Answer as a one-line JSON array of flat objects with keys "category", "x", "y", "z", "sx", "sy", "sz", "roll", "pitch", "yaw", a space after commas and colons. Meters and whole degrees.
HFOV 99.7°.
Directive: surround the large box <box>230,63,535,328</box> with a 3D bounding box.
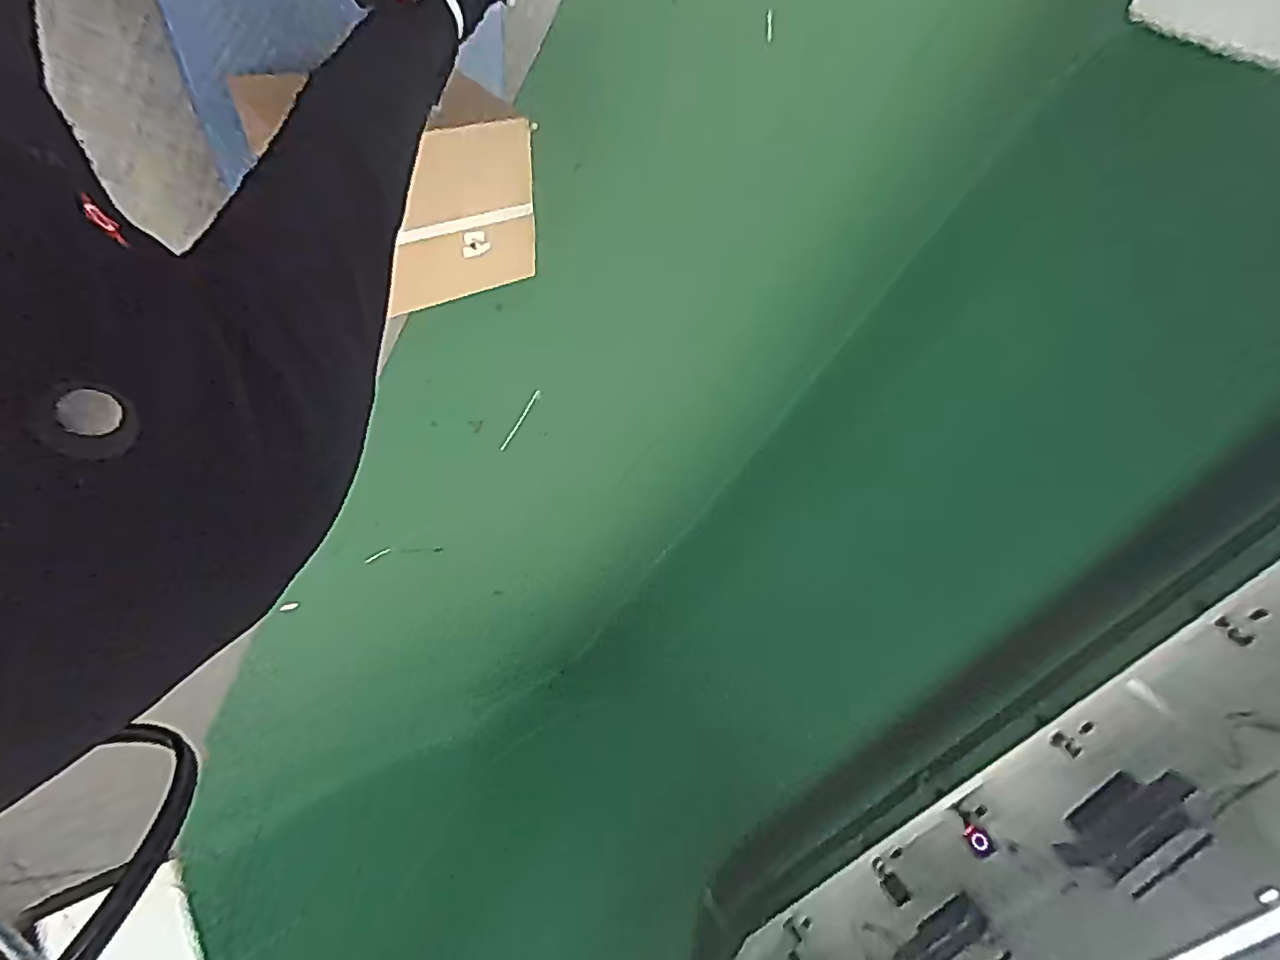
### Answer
[{"category": "large box", "x": -0.463, "y": -0.563, "z": 1.050, "sx": 0.408, "sy": 0.320, "sz": 0.320, "roll": -31, "pitch": 153, "yaw": -28}]
